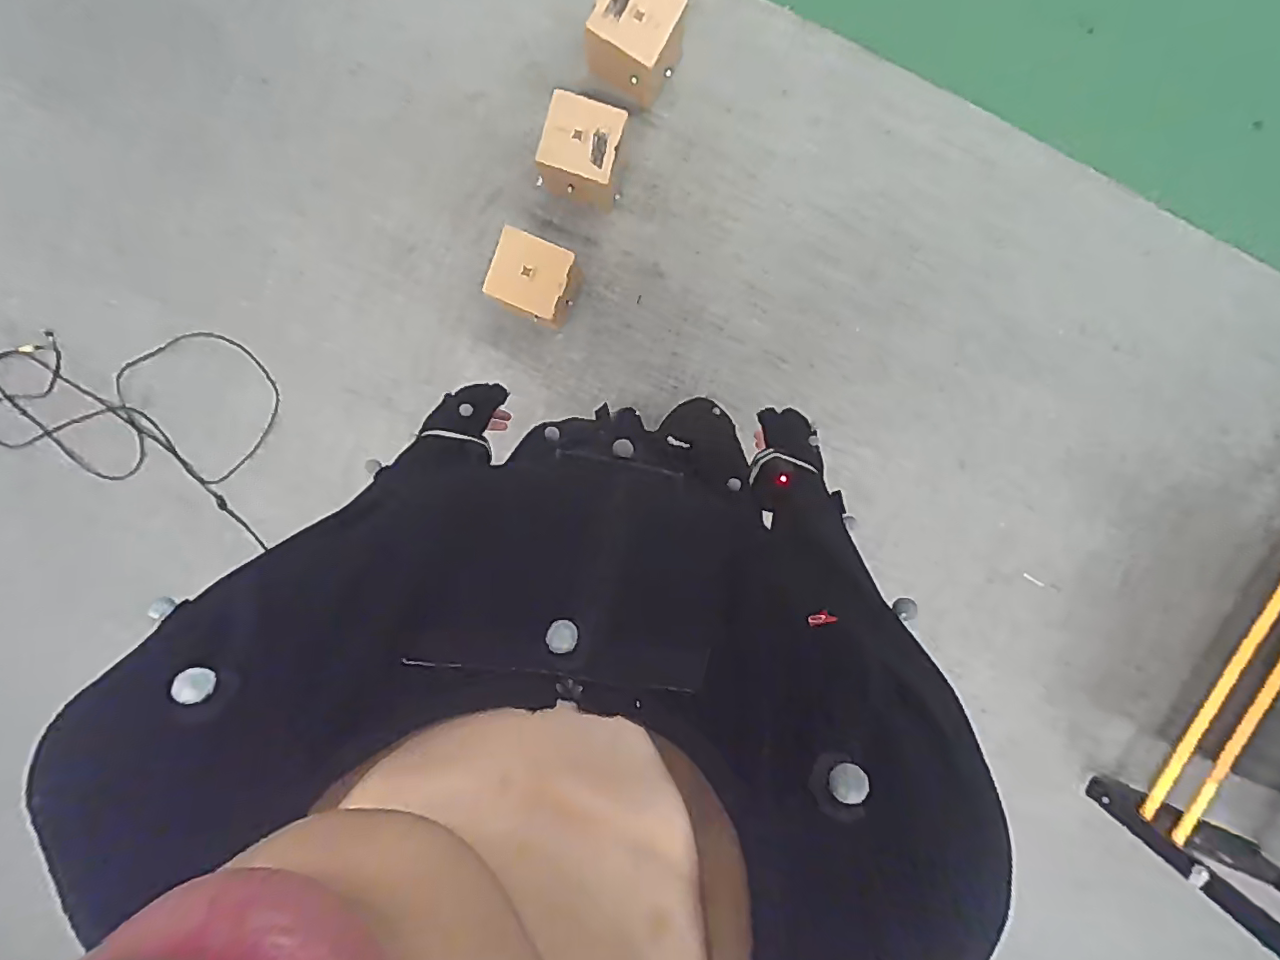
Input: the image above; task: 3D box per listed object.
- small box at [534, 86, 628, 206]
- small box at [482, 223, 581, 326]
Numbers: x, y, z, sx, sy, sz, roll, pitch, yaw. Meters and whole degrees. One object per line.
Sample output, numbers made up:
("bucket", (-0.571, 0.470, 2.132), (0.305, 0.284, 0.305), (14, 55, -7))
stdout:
("small box", (-0.133, -0.783, 1.290), (0.179, 0.176, 0.168), (17, 96, -1))
("small box", (-0.257, -0.493, 1.324), (0.179, 0.176, 0.168), (21, 97, -3))
